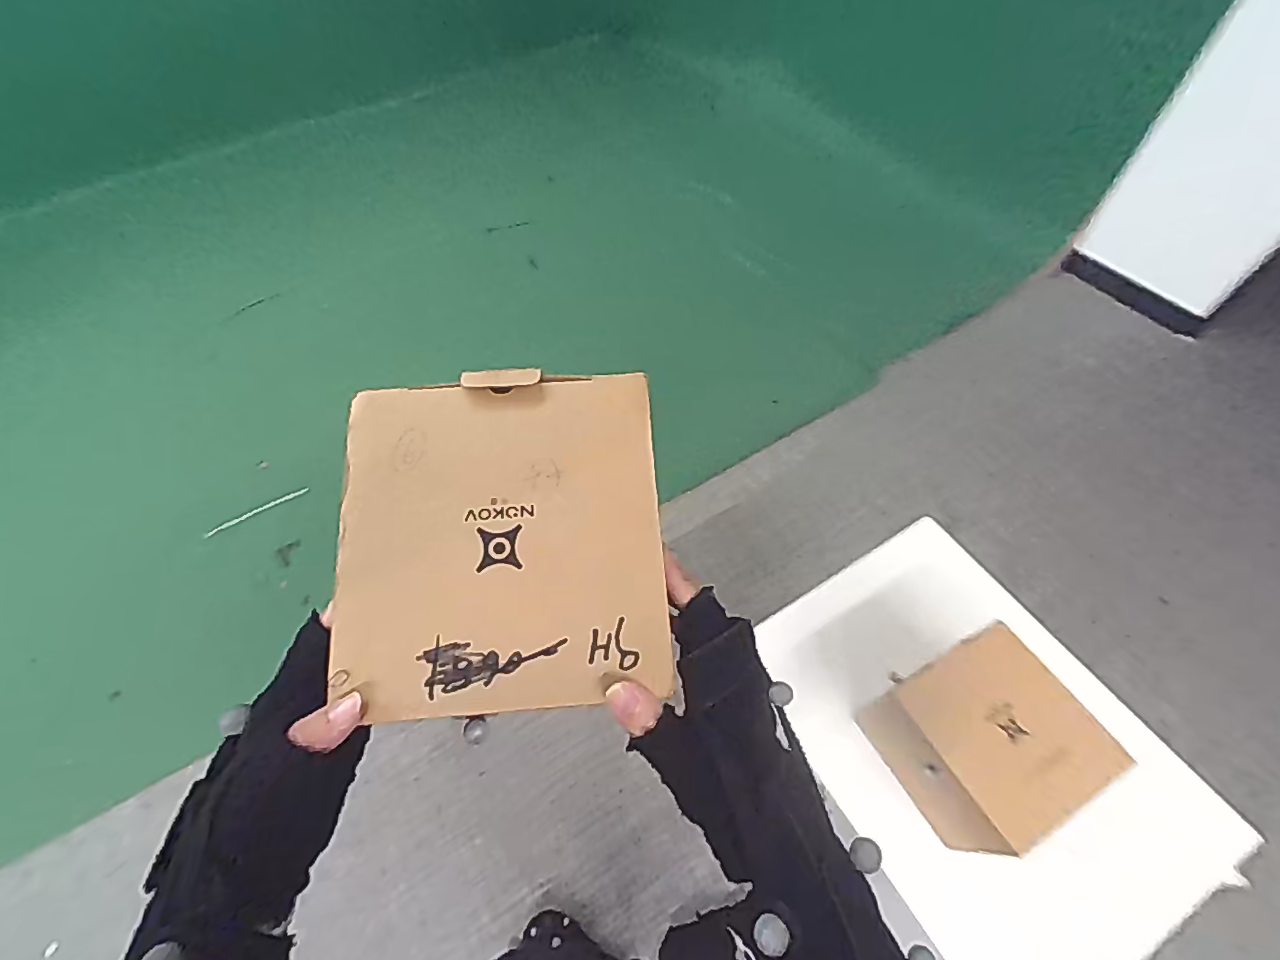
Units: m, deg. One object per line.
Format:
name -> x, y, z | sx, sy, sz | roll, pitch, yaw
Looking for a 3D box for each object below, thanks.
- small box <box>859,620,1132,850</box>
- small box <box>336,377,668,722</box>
small box -> 0.393, 0.301, 0.639 | 0.168, 0.176, 0.179 | -27, 60, -11
small box -> -0.079, 0.053, 0.368 | 0.168, 0.176, 0.179 | -8, 72, -3
